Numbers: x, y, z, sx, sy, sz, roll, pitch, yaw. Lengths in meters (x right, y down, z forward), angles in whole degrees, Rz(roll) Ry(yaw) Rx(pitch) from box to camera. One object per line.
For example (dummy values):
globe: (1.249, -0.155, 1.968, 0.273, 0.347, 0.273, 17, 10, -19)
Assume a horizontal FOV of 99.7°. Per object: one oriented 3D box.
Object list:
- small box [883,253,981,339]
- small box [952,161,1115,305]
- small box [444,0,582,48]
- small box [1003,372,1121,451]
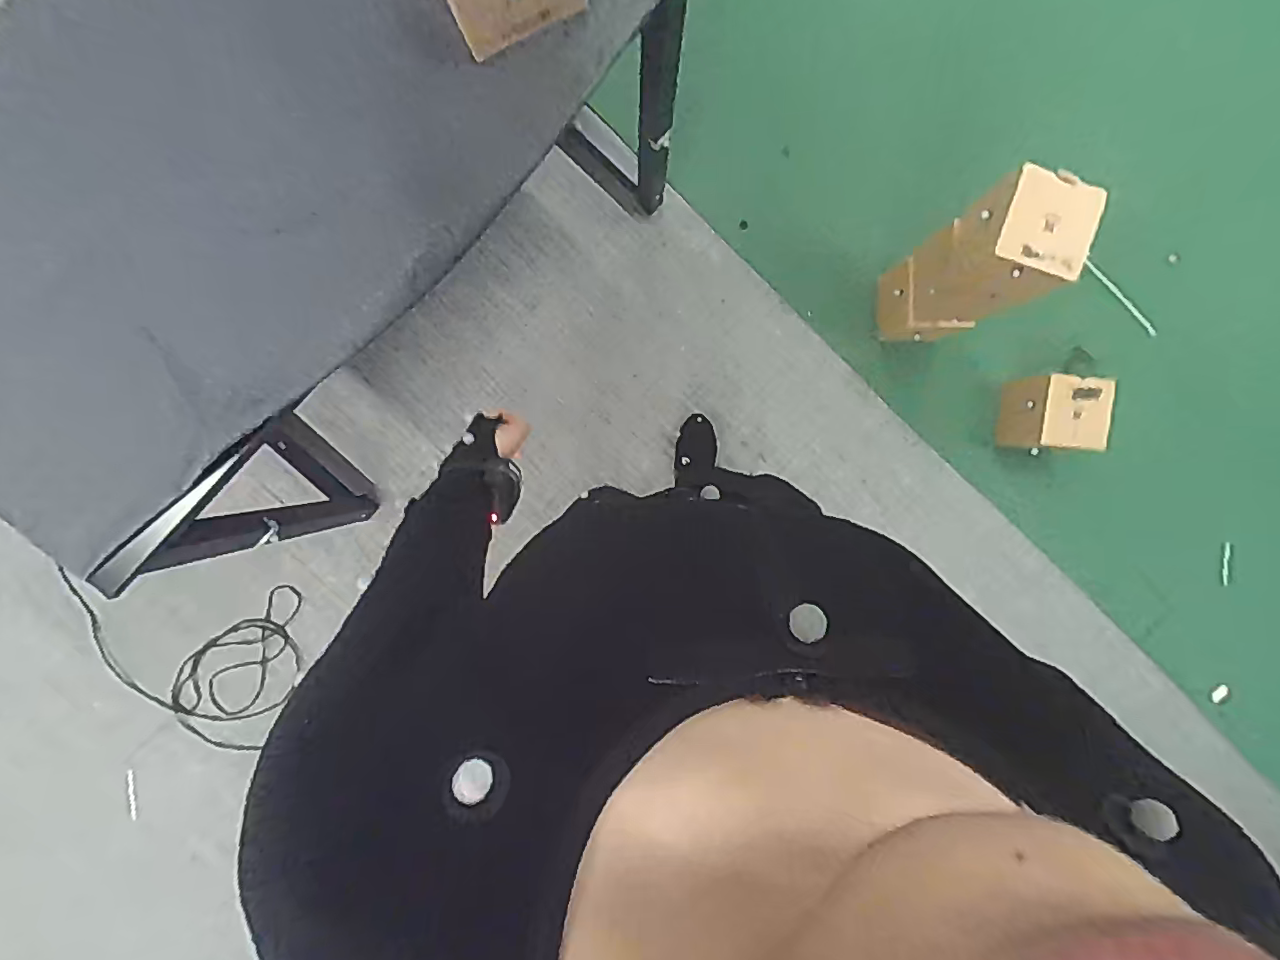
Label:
small box: (0.737, -0.460, 1.378, 0.168, 0.176, 0.179, -1, 92, 0)
small box: (0.747, -0.466, 1.048, 0.168, 0.176, 0.179, 19, 92, -1)
small box: (-0.178, -0.653, 0.622, 0.168, 0.176, 0.179, -26, 90, 0)
small box: (1.075, -0.170, 1.391, 0.168, 0.176, 0.179, 6, 93, -1)
